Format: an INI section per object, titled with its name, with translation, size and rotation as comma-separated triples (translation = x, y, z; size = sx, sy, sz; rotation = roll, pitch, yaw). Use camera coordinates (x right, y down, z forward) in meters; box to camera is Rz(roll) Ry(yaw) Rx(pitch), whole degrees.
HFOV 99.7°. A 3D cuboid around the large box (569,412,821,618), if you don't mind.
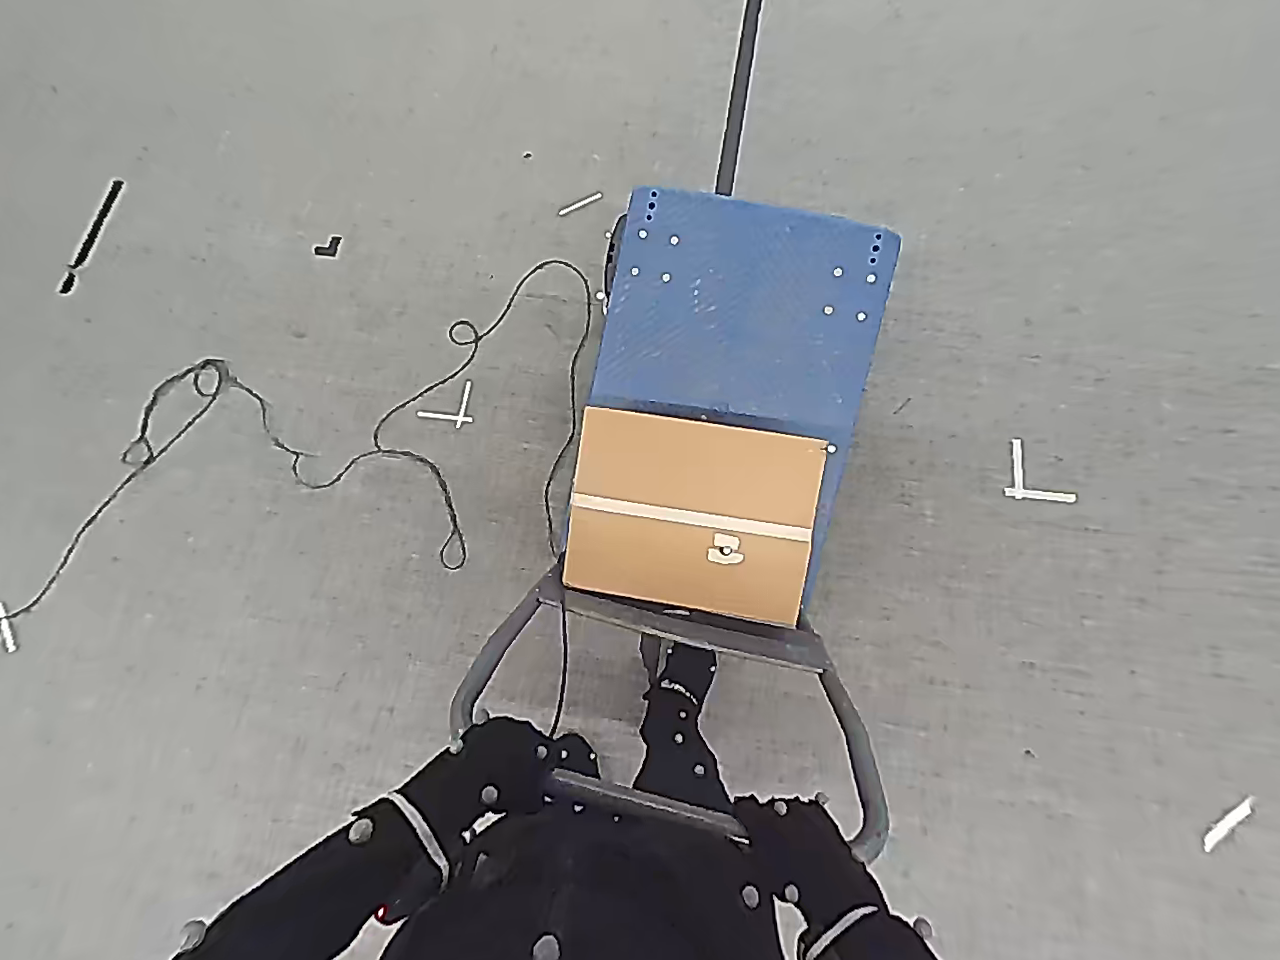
[large box]
translation = 0.097, 0.049, 1.074
size = 0.408, 0.320, 0.320
rotation = 9, 96, 4
